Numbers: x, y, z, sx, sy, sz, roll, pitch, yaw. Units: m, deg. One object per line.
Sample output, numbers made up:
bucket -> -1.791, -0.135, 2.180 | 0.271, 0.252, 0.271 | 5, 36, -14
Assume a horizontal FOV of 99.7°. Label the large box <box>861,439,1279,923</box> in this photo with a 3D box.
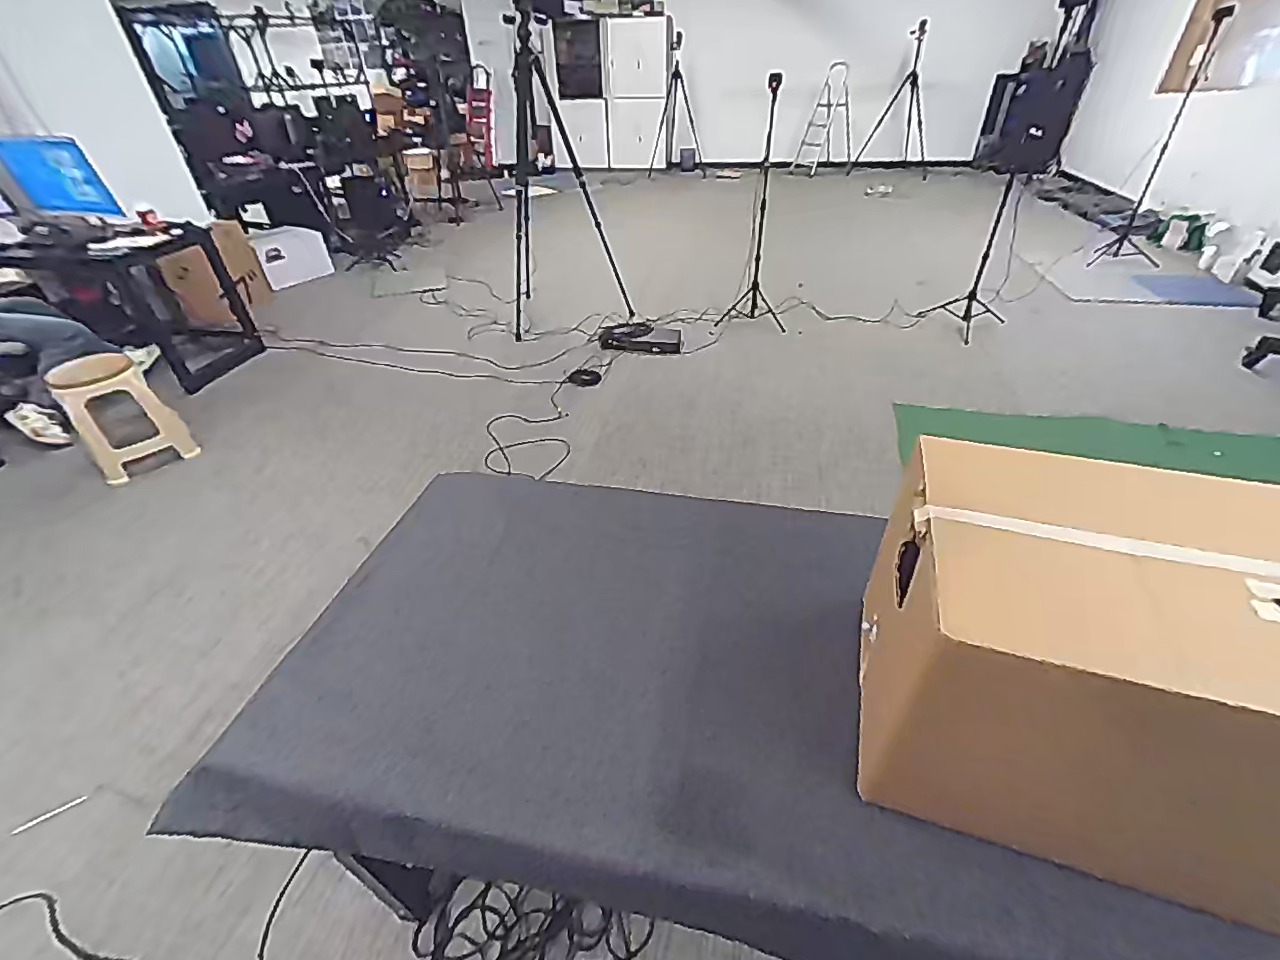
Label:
large box -> 0.484, 0.189, 0.589 | 0.408, 0.320, 0.320 | 11, 40, 16
